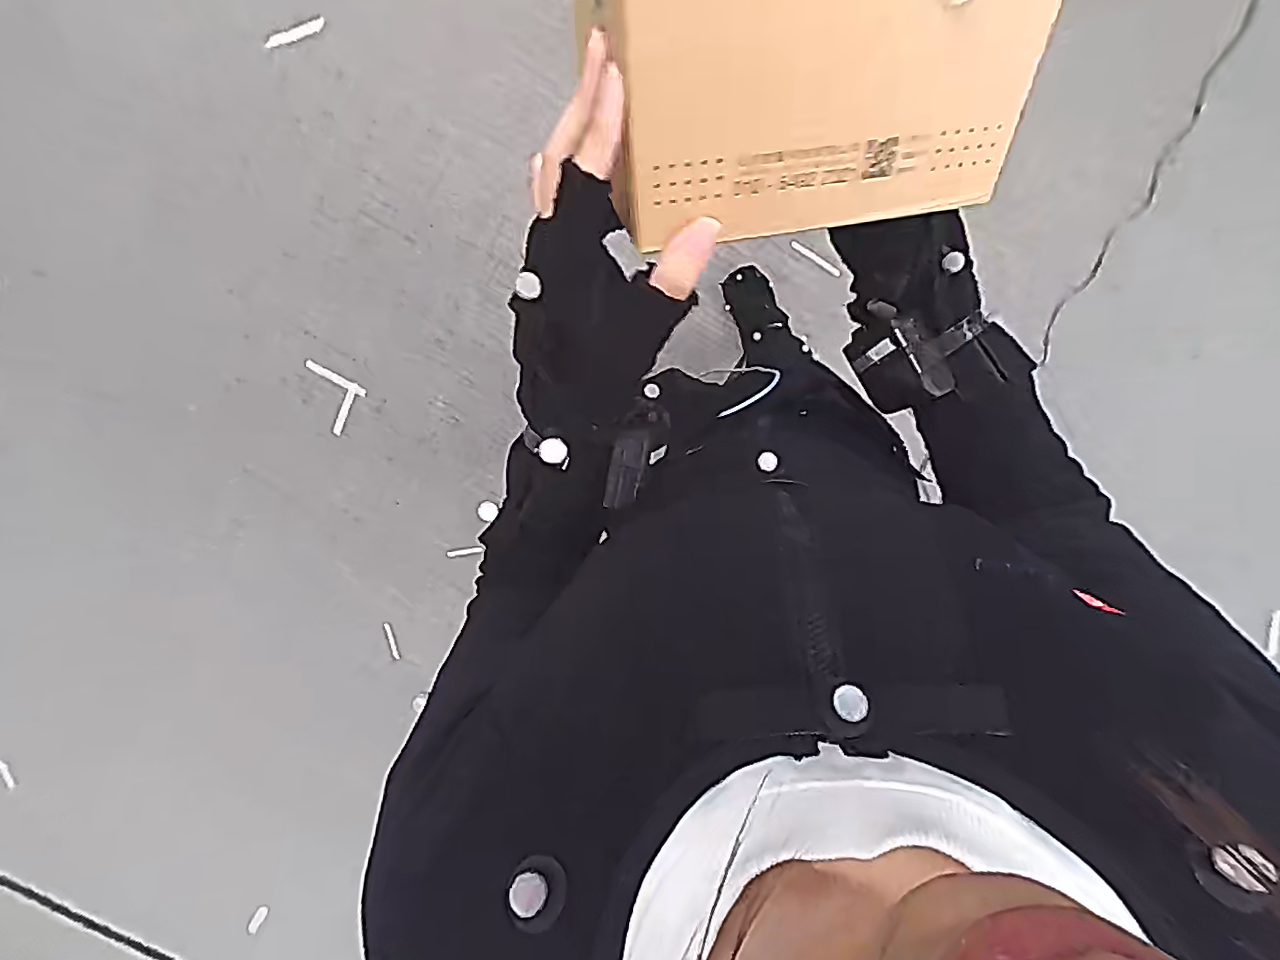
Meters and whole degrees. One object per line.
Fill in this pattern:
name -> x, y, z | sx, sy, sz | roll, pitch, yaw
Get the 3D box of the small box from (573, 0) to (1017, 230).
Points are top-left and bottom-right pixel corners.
small box -> 0.059, -0.233, 0.261 | 0.168, 0.179, 0.176 | -11, 133, -7
